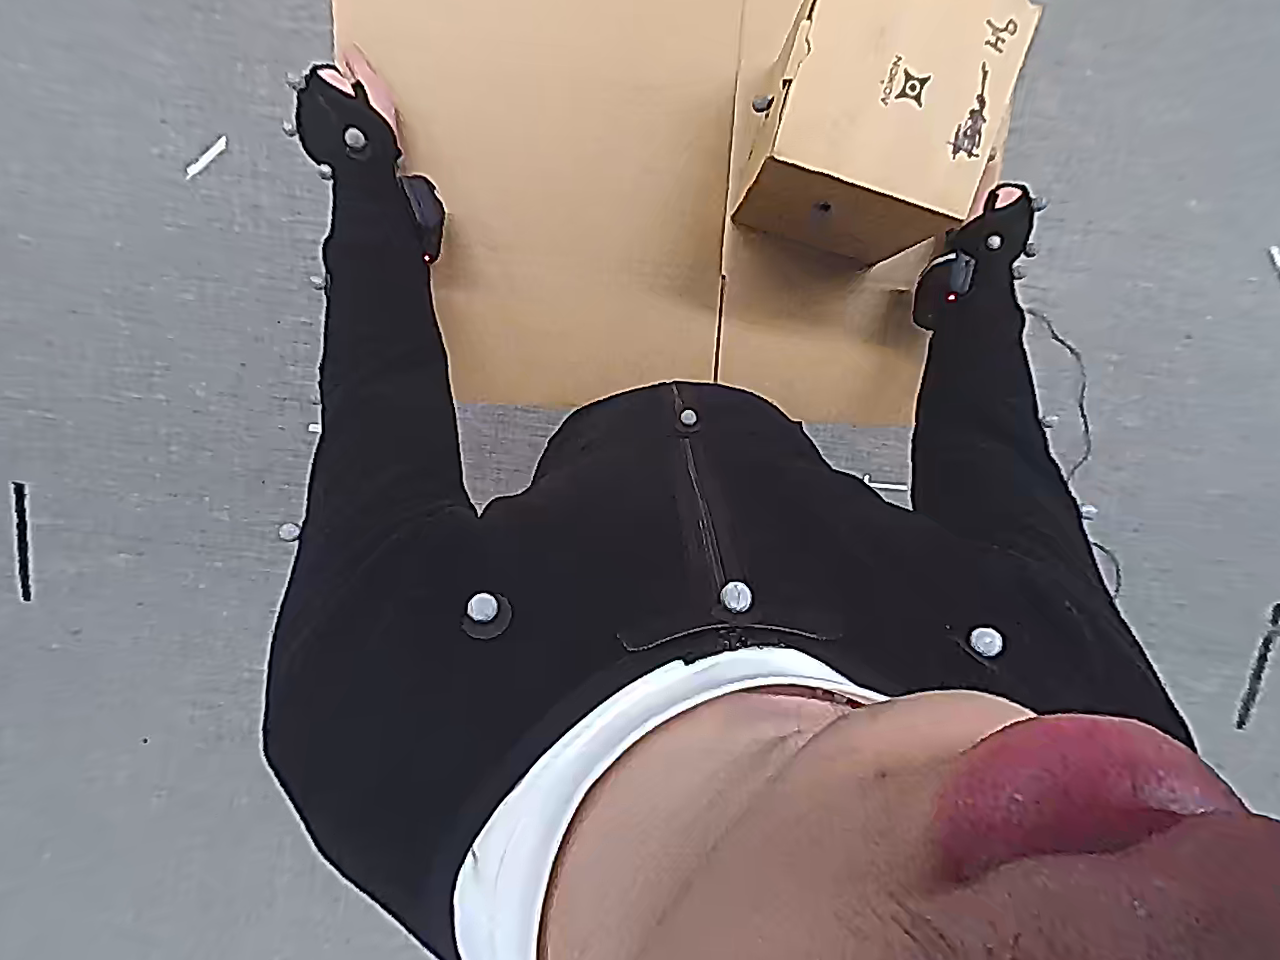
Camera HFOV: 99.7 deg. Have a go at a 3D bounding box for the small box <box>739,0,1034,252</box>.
[{"bbox_3d":[0.208,-0.338,0.515,0.179,0.176,0.168,16,99,-3],"label":"small box"}]
